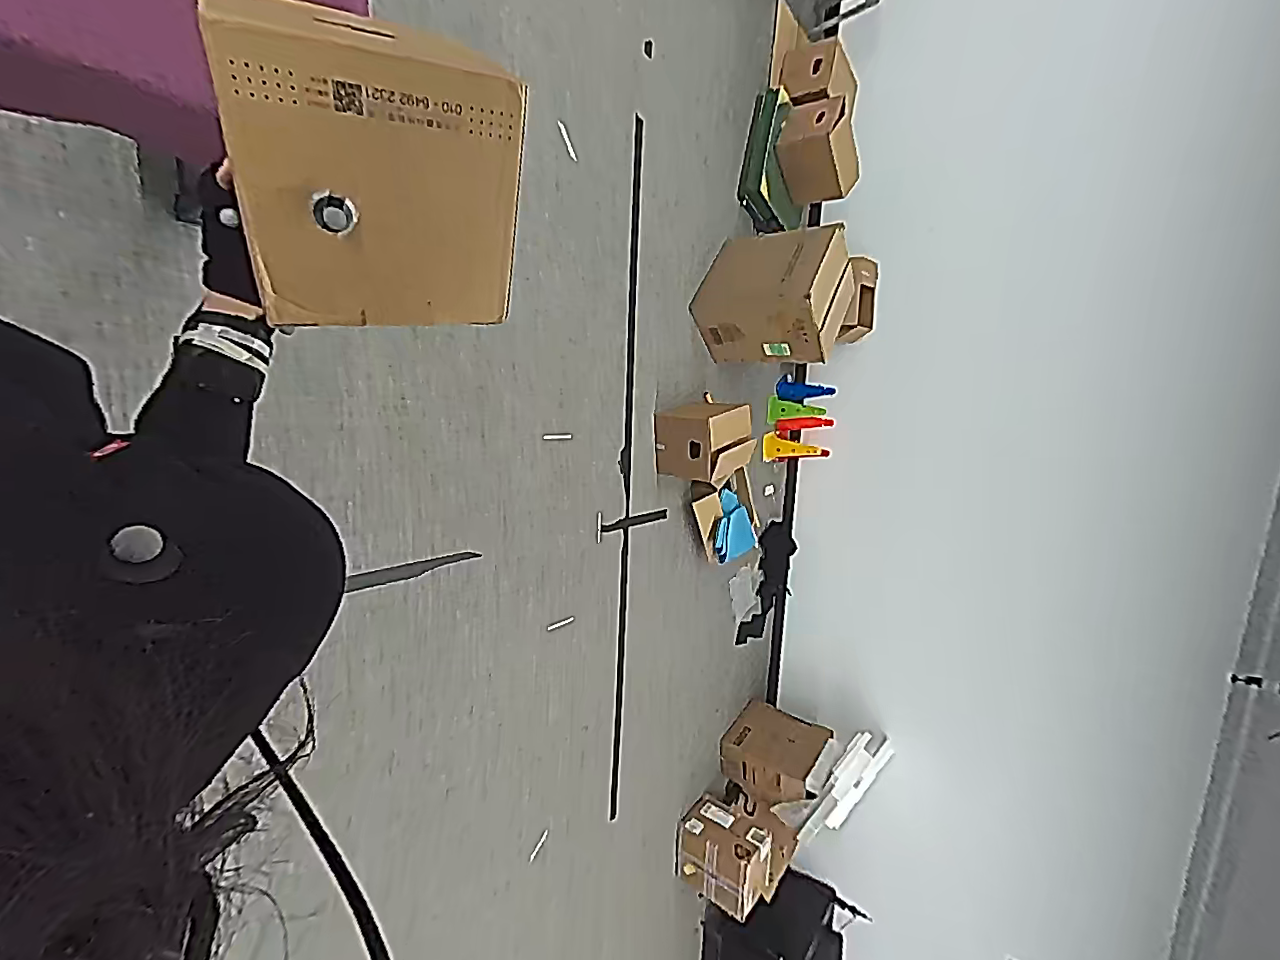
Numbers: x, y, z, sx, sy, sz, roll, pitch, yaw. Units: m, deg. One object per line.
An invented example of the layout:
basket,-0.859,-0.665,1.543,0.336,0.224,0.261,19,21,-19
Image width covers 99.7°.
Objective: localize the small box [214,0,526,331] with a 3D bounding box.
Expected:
small box,-0.192,-0.226,0.393,0.168,0.179,0.176,-9,136,-33
